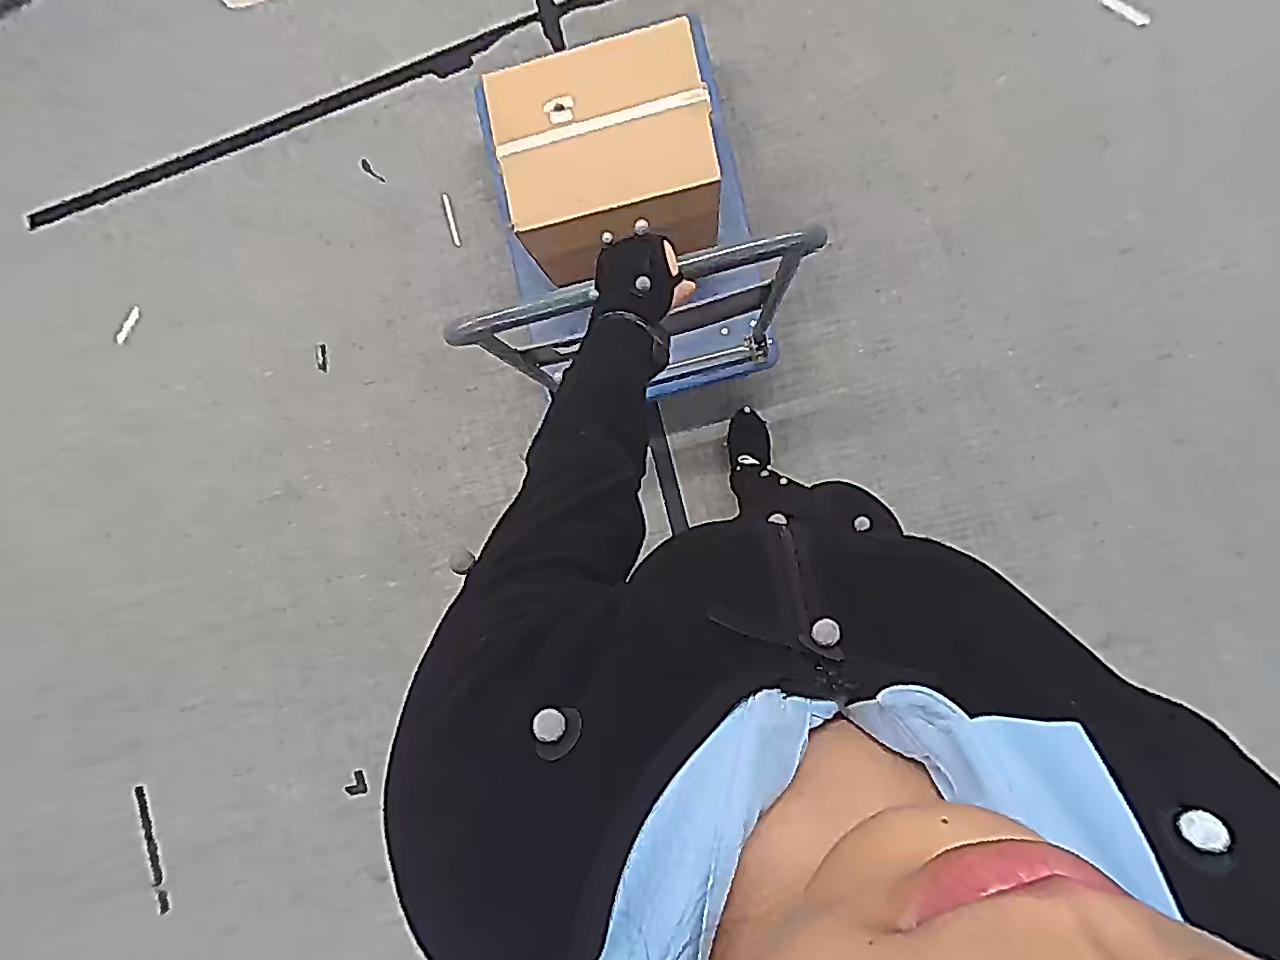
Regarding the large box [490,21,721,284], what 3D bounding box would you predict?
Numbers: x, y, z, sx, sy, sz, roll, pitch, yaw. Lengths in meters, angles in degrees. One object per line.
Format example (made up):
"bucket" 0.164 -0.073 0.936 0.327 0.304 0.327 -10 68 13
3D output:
"large box" -0.053 -0.670 1.178 0.408 0.320 0.320 -12 88 7
